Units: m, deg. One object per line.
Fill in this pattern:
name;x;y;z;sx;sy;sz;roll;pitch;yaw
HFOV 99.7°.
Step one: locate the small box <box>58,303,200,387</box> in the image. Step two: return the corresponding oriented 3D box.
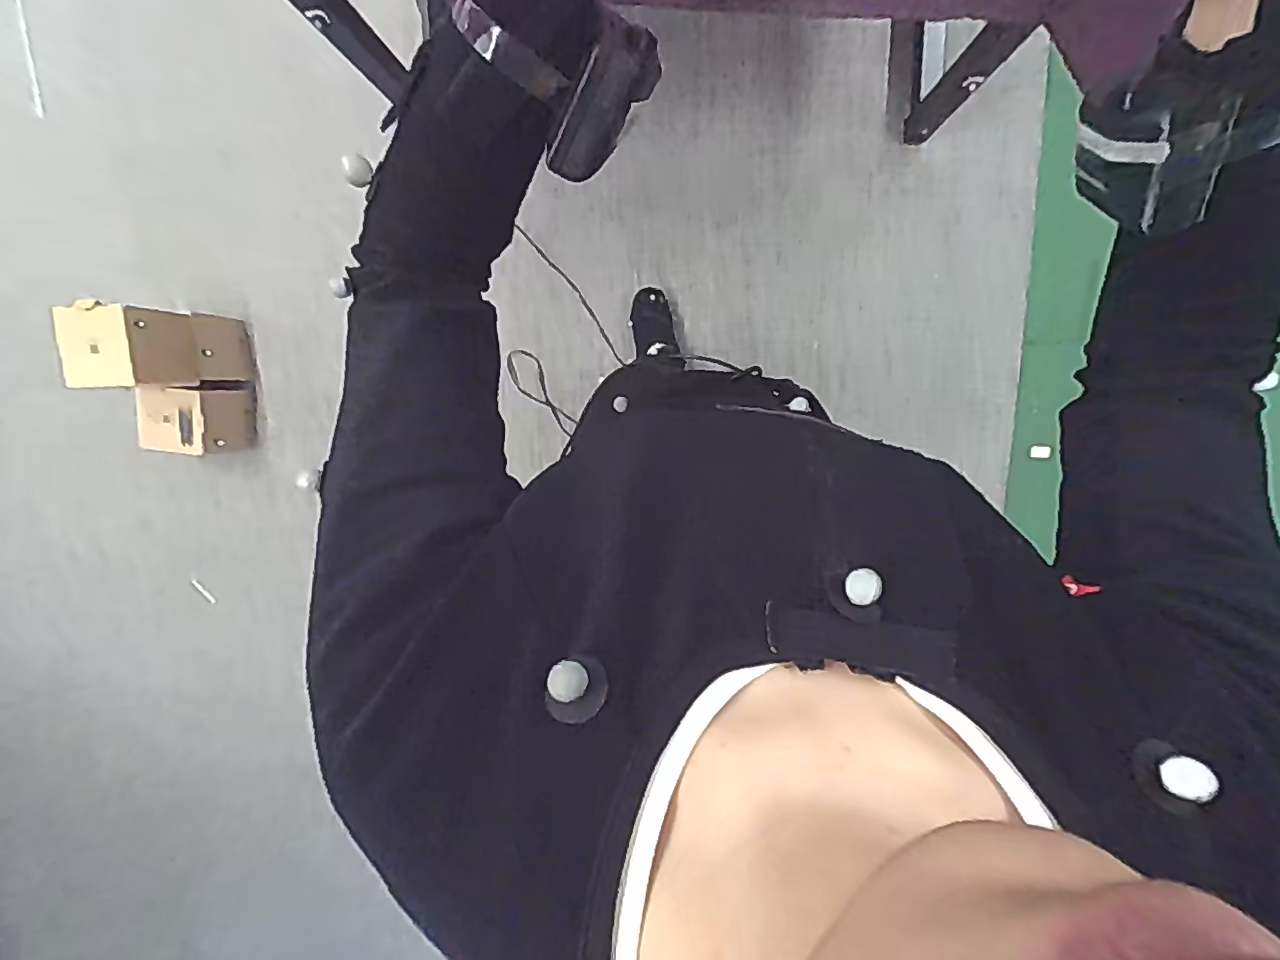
small box;-1.174;-0.308;1.258;0.168;0.176;0.179;-1;99;4
